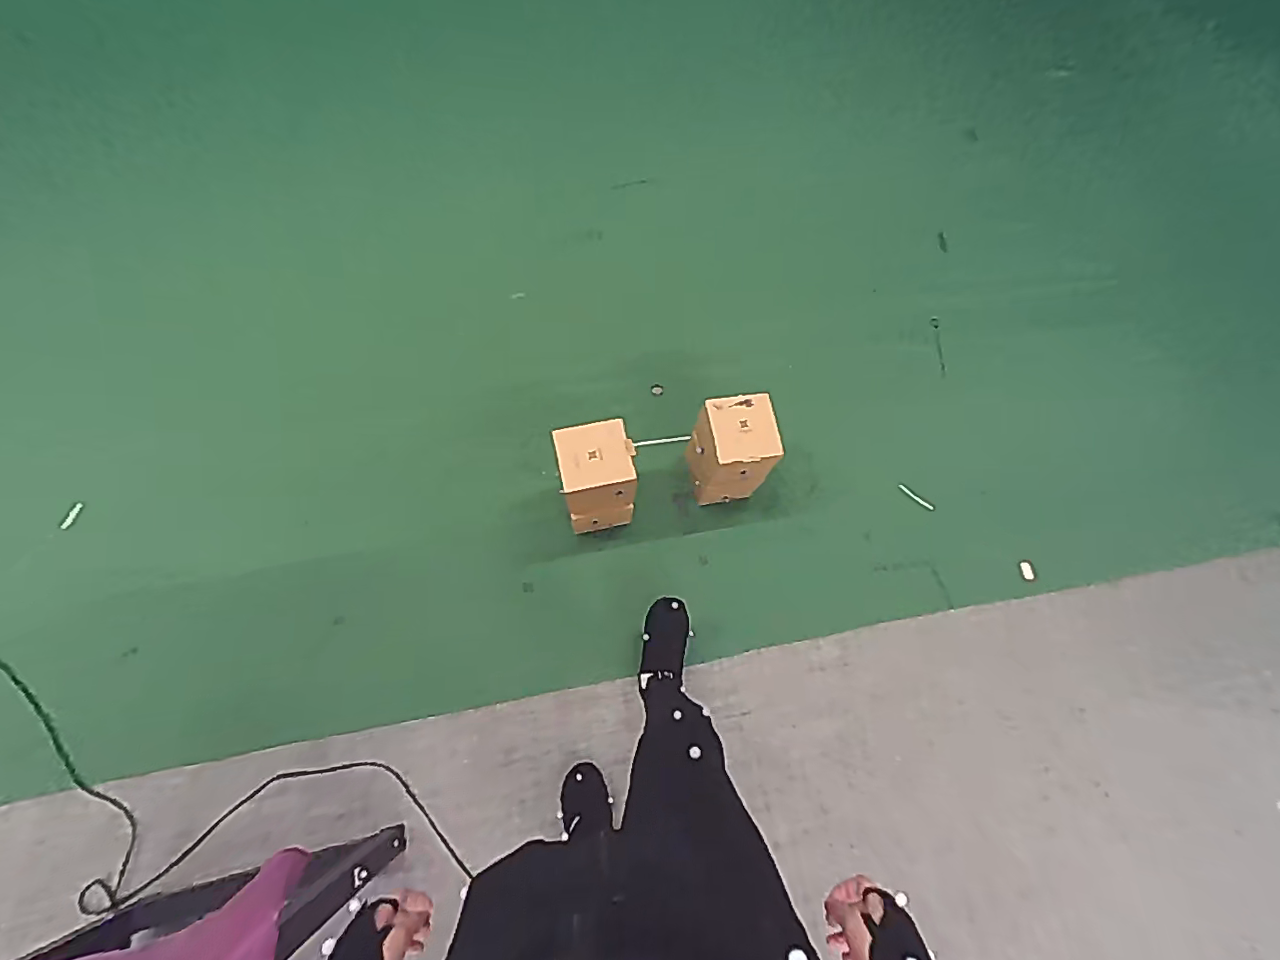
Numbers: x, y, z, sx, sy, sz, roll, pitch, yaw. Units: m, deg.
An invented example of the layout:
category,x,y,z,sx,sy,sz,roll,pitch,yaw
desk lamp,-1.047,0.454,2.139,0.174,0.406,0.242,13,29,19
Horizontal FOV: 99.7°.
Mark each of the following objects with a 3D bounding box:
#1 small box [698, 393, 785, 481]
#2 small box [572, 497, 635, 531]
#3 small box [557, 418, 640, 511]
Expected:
category,x,y,z,sx,sy,sz,roll,pitch,yaw
small box,0.256,-0.104,1.398,0.168,0.176,0.179,-7,73,-7
small box,-0.111,0.036,1.501,0.168,0.176,0.179,-12,71,-7
small box,-0.105,-0.034,1.354,0.179,0.176,0.168,-12,71,-7
